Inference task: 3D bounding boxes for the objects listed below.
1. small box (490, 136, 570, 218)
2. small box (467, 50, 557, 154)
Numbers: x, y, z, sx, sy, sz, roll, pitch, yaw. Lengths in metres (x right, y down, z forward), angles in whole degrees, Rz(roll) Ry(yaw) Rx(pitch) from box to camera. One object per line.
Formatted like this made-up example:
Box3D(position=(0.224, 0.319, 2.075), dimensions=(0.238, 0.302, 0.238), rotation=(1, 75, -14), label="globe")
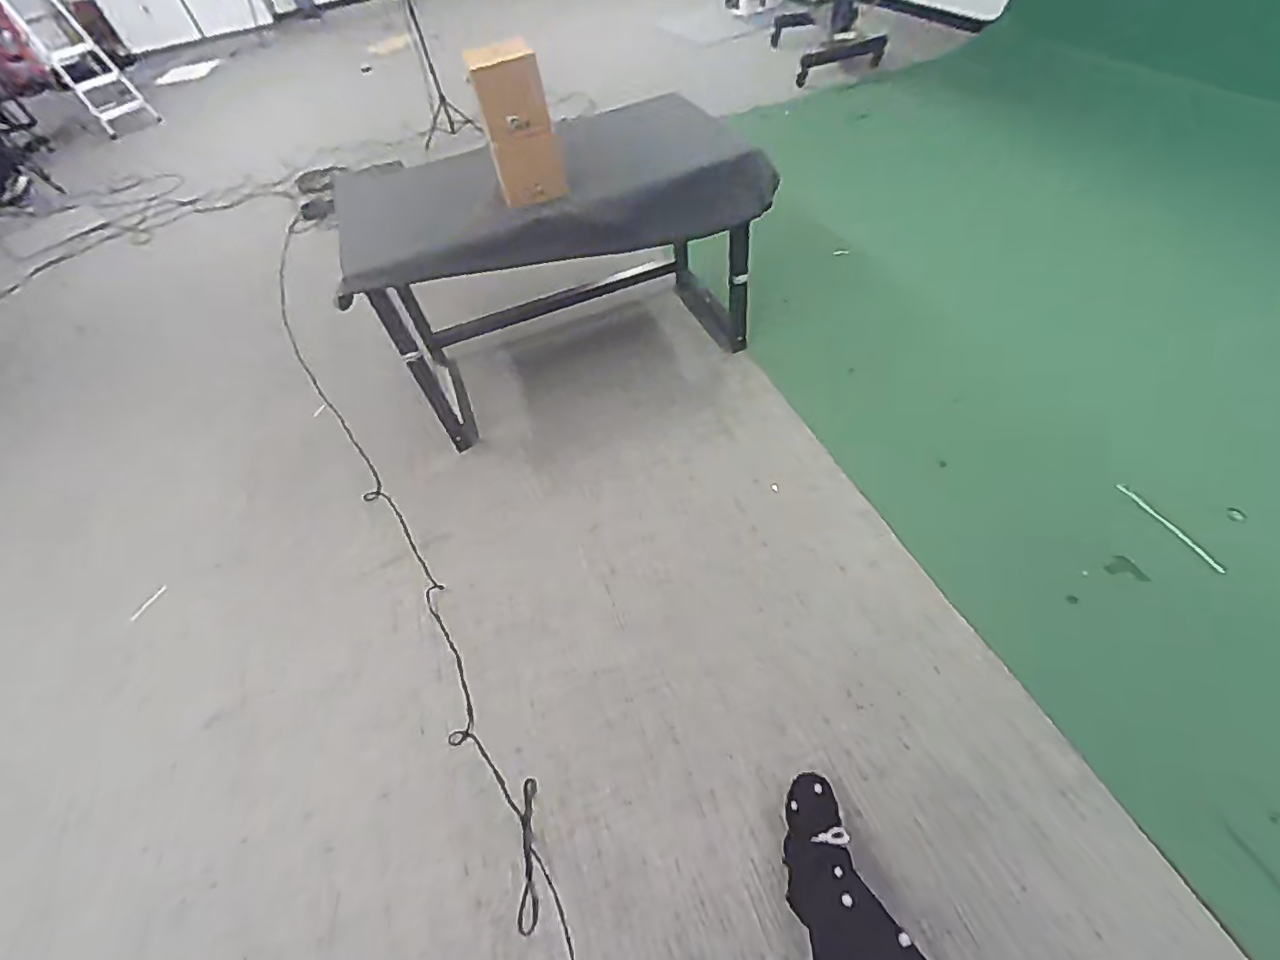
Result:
Box3D(position=(-0.305, -0.872, 1.525), dimensions=(0.179, 0.176, 0.168), rotation=(-19, 50, -7), label="small box")
Box3D(position=(-0.331, -0.980, 1.406), dimensions=(0.168, 0.176, 0.179), rotation=(-21, 52, -5), label="small box")
